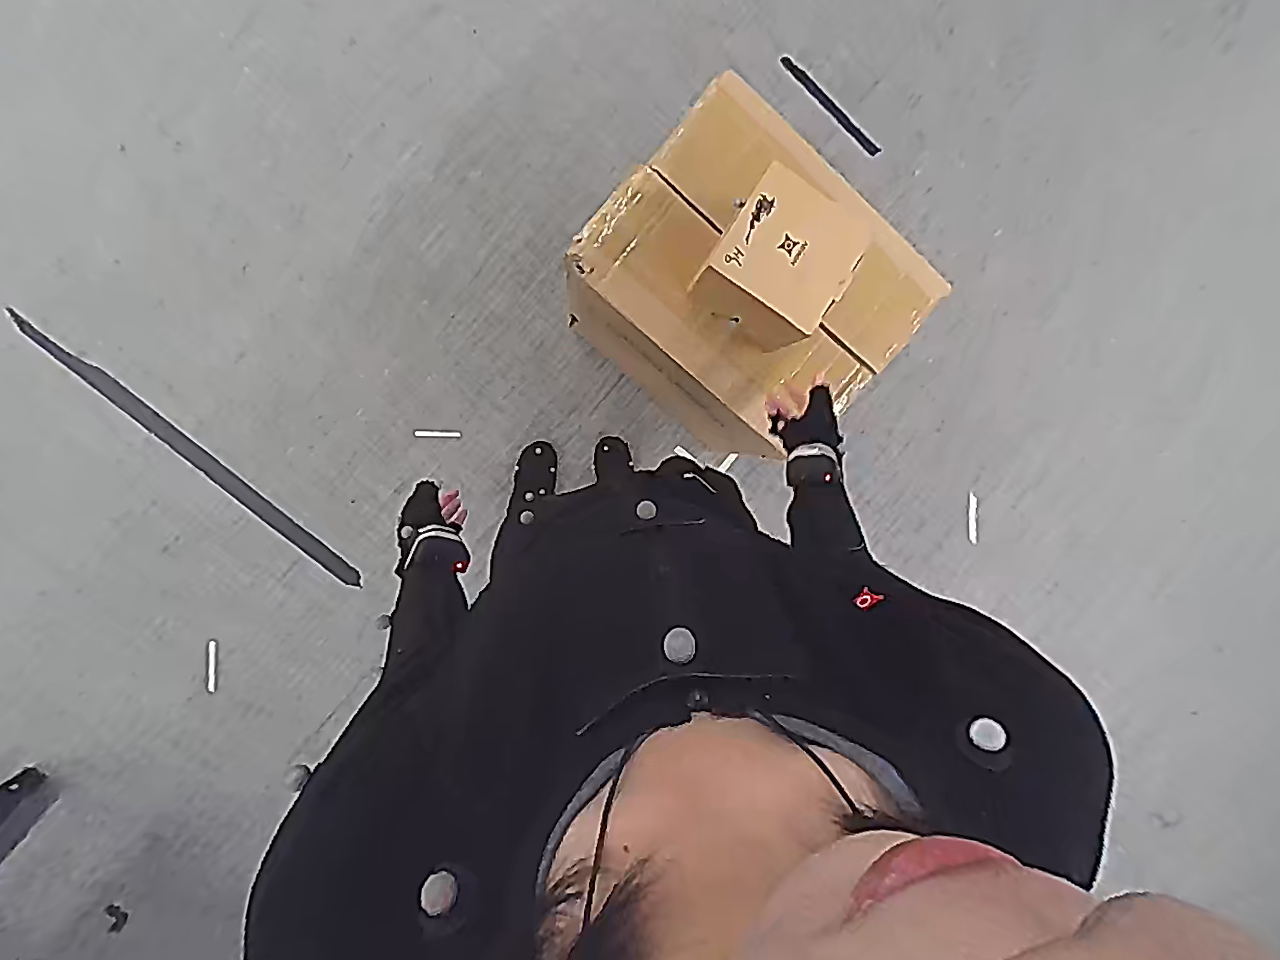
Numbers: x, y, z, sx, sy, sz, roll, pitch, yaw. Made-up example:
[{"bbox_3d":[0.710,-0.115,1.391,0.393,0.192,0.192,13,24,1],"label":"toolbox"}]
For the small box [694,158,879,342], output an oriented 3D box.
[{"bbox_3d":[0.204,-0.322,0.803,0.179,0.176,0.168,32,92,-8],"label":"small box"}]
